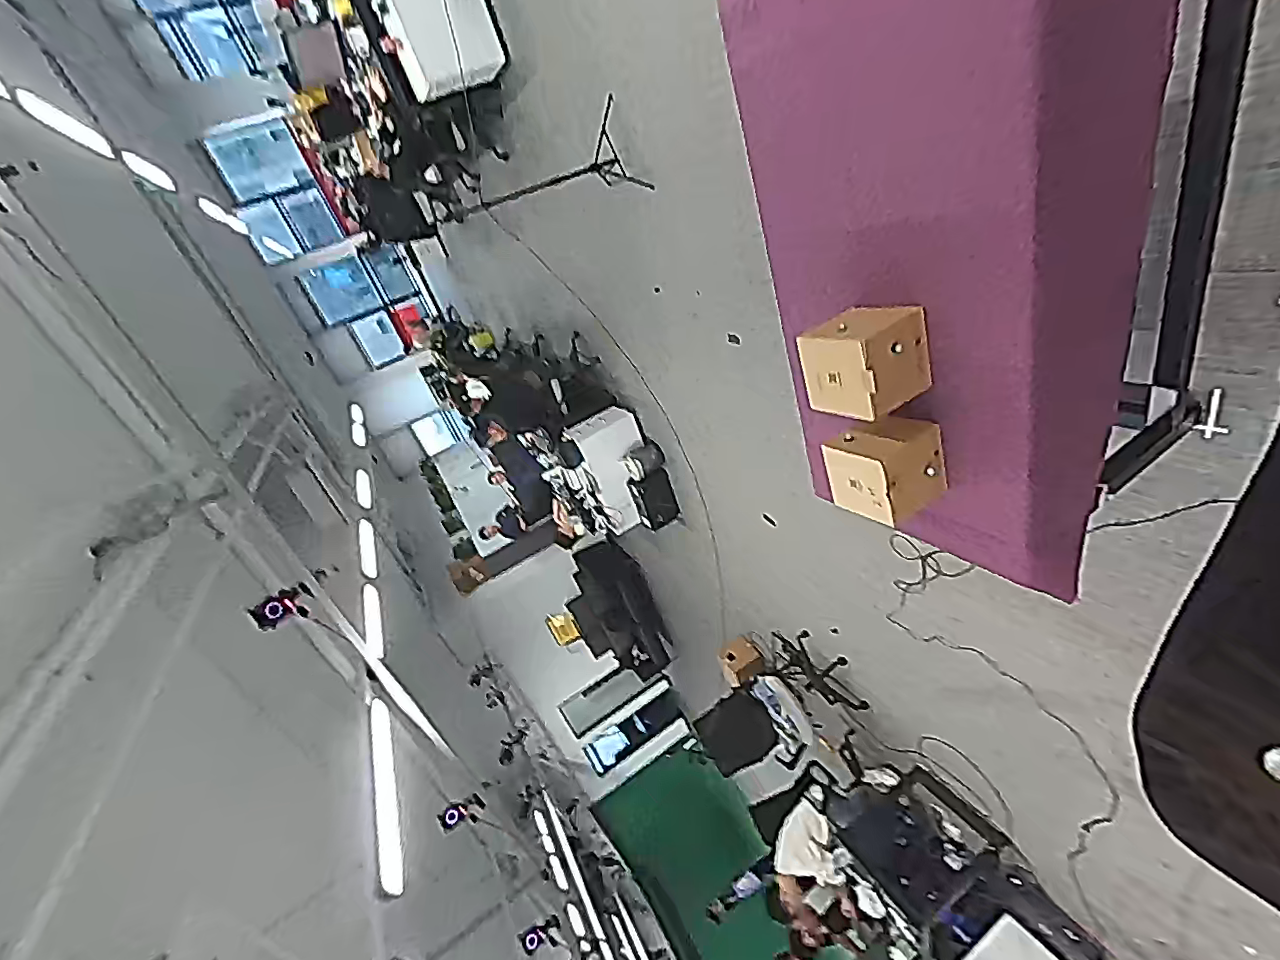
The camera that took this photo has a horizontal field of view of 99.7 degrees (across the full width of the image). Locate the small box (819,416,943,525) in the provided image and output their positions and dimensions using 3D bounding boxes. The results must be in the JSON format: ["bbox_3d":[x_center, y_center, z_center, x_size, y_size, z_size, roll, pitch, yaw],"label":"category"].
[{"bbox_3d":[0.536,-0.030,1.206,0.179,0.176,0.168,29,146,60],"label":"small box"}]

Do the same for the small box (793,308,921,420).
[{"bbox_3d":[0.450,-0.244,1.107,0.179,0.176,0.168,31,146,59],"label":"small box"}]
